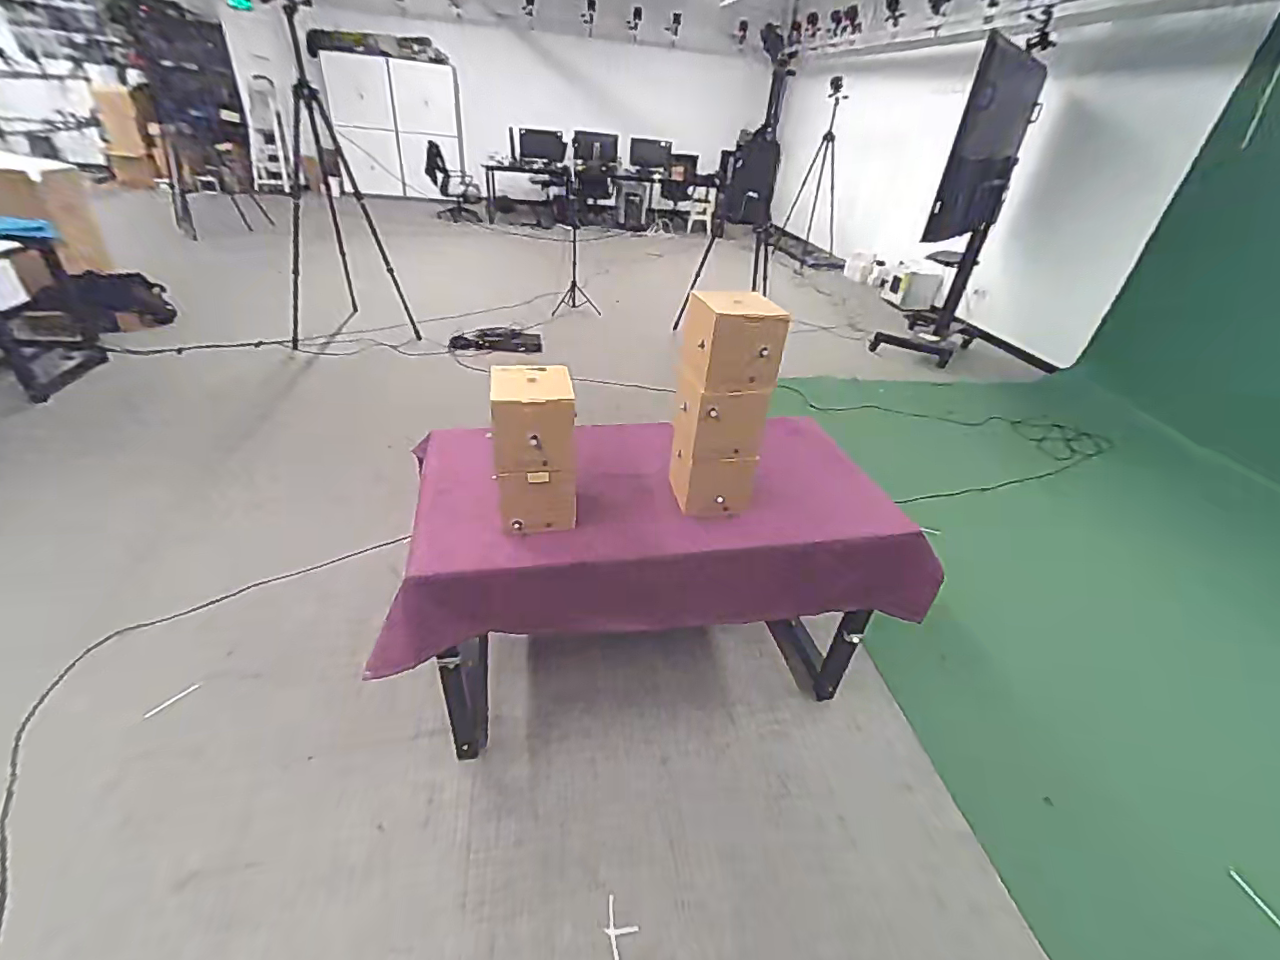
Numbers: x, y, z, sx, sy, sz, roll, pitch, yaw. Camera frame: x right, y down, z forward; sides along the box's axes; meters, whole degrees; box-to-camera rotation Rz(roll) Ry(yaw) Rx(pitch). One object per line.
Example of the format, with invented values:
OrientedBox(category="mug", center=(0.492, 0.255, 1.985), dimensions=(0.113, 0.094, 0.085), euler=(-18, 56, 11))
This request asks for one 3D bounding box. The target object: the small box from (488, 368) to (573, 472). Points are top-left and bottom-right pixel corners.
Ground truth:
OrientedBox(category="small box", center=(-0.232, -0.127, 1.157), dimensions=(0.168, 0.176, 0.179), euler=(-2, 35, -13))

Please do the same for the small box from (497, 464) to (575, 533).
OrientedBox(category="small box", center=(-0.241, 0.009, 1.248), dimensions=(0.168, 0.176, 0.179), euler=(-4, 34, -14))

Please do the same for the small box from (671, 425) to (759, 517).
OrientedBox(category="small box", center=(0.178, -0.025, 1.355), dimensions=(0.168, 0.176, 0.179), euler=(-3, 35, -11))

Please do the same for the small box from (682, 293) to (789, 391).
OrientedBox(category="small box", center=(0.199, -0.301, 1.179), dimensions=(0.168, 0.176, 0.179), euler=(-3, 34, -14))
